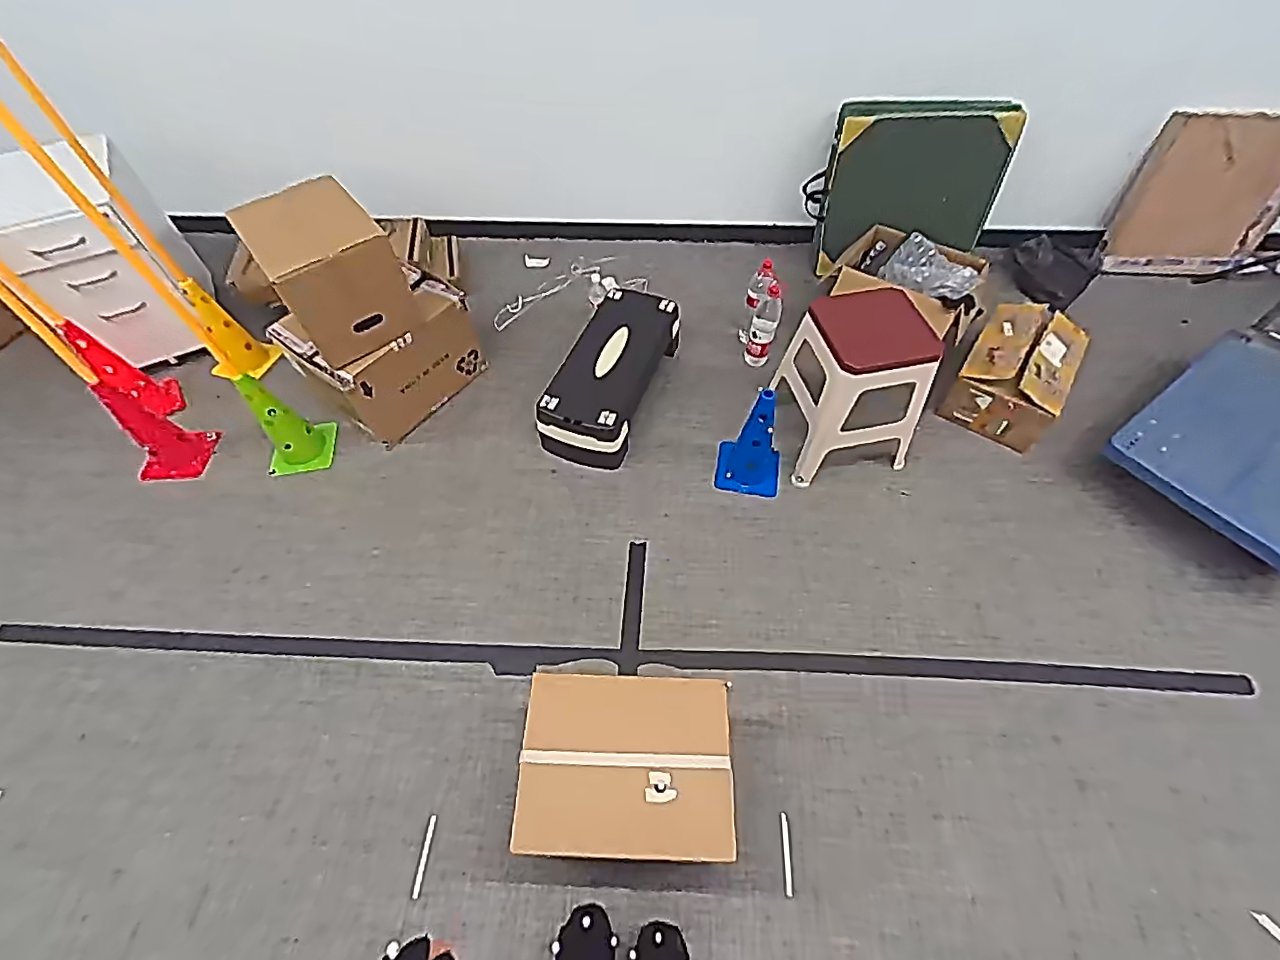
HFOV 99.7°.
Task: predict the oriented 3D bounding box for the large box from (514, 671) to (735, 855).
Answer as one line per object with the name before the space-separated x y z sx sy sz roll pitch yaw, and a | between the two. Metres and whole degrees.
large box | -0.028 0.615 1.165 0.408 0.320 0.320 2 57 0
